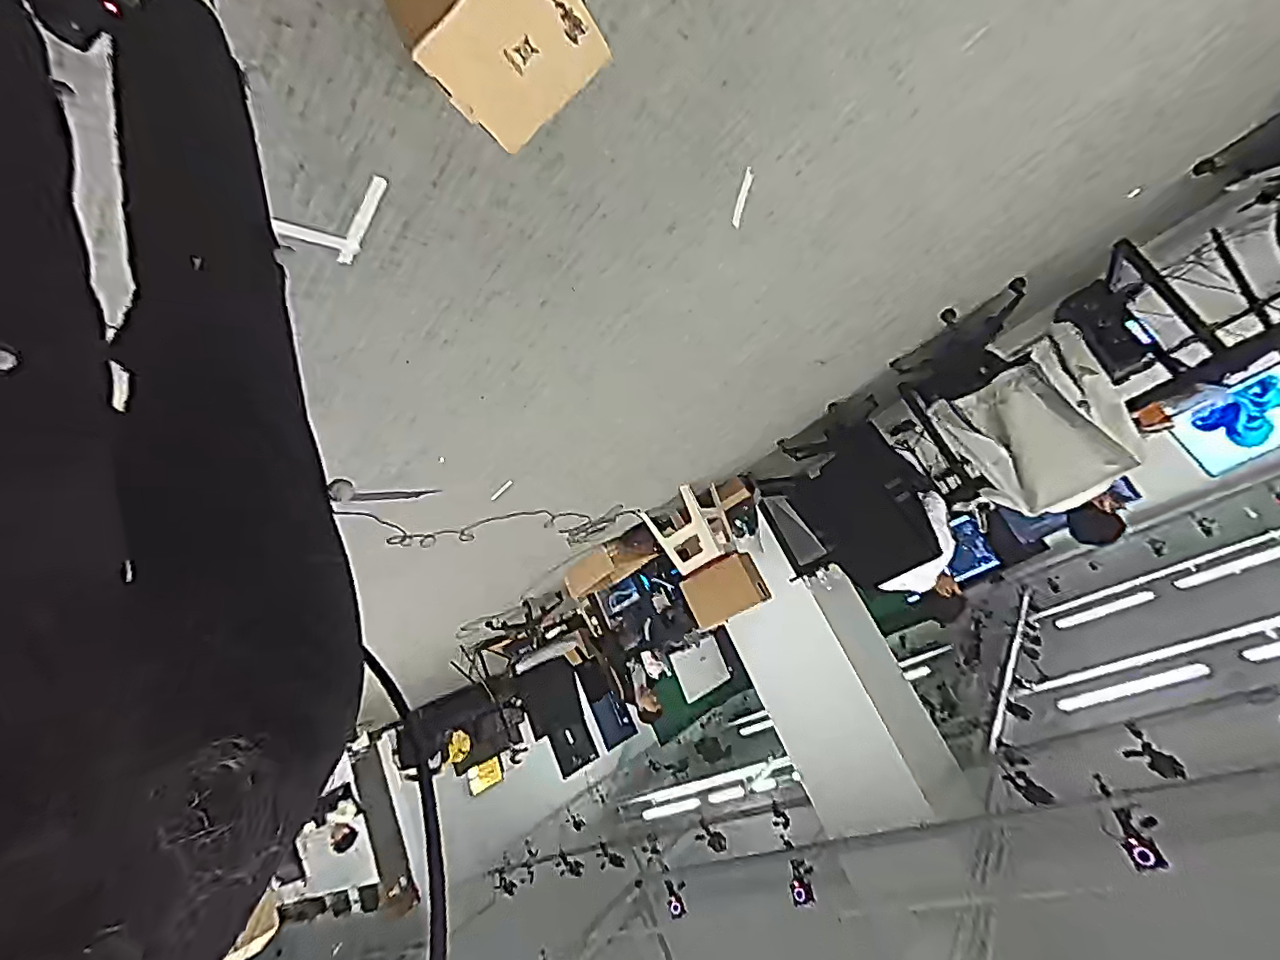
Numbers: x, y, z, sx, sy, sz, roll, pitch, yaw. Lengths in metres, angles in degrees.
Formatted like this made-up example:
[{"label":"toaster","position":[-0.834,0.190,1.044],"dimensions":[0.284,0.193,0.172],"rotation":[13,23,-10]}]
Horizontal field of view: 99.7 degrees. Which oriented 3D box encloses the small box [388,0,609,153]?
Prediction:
[{"label":"small box","position":[-0.169,-0.540,0.623],"dimensions":[0.179,0.176,0.168],"rotation":[-31,162,18]}]
